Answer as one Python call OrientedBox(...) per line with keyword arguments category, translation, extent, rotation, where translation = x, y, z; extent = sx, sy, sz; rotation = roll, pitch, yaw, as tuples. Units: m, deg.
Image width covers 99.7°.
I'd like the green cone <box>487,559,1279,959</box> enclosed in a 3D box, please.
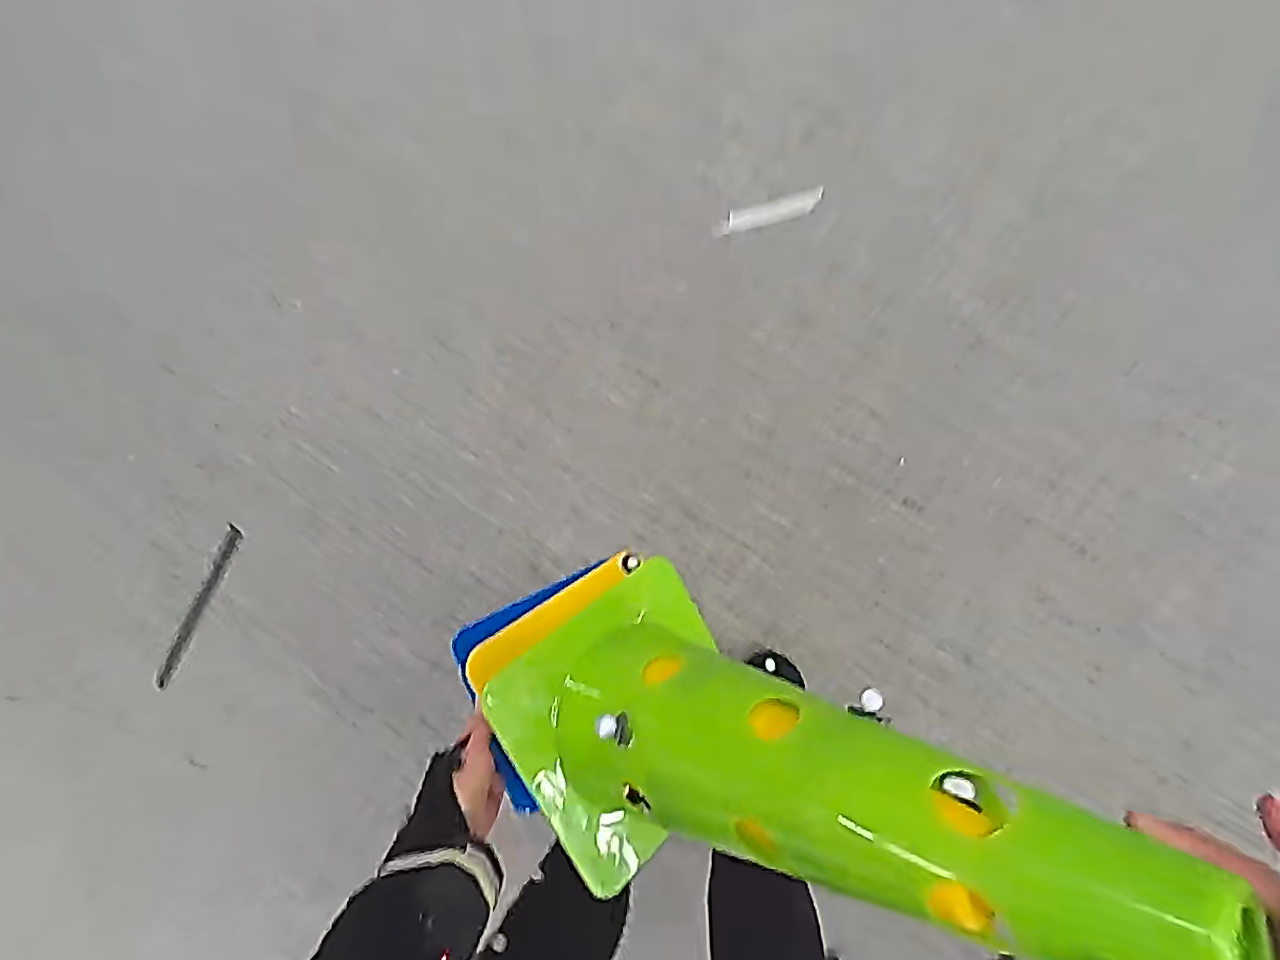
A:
OrientedBox(category="green cone", translation=(0.089, 0.164, 0.293), extent=(0.202, 0.368, 0.200), rotation=(-33, 98, -31))
